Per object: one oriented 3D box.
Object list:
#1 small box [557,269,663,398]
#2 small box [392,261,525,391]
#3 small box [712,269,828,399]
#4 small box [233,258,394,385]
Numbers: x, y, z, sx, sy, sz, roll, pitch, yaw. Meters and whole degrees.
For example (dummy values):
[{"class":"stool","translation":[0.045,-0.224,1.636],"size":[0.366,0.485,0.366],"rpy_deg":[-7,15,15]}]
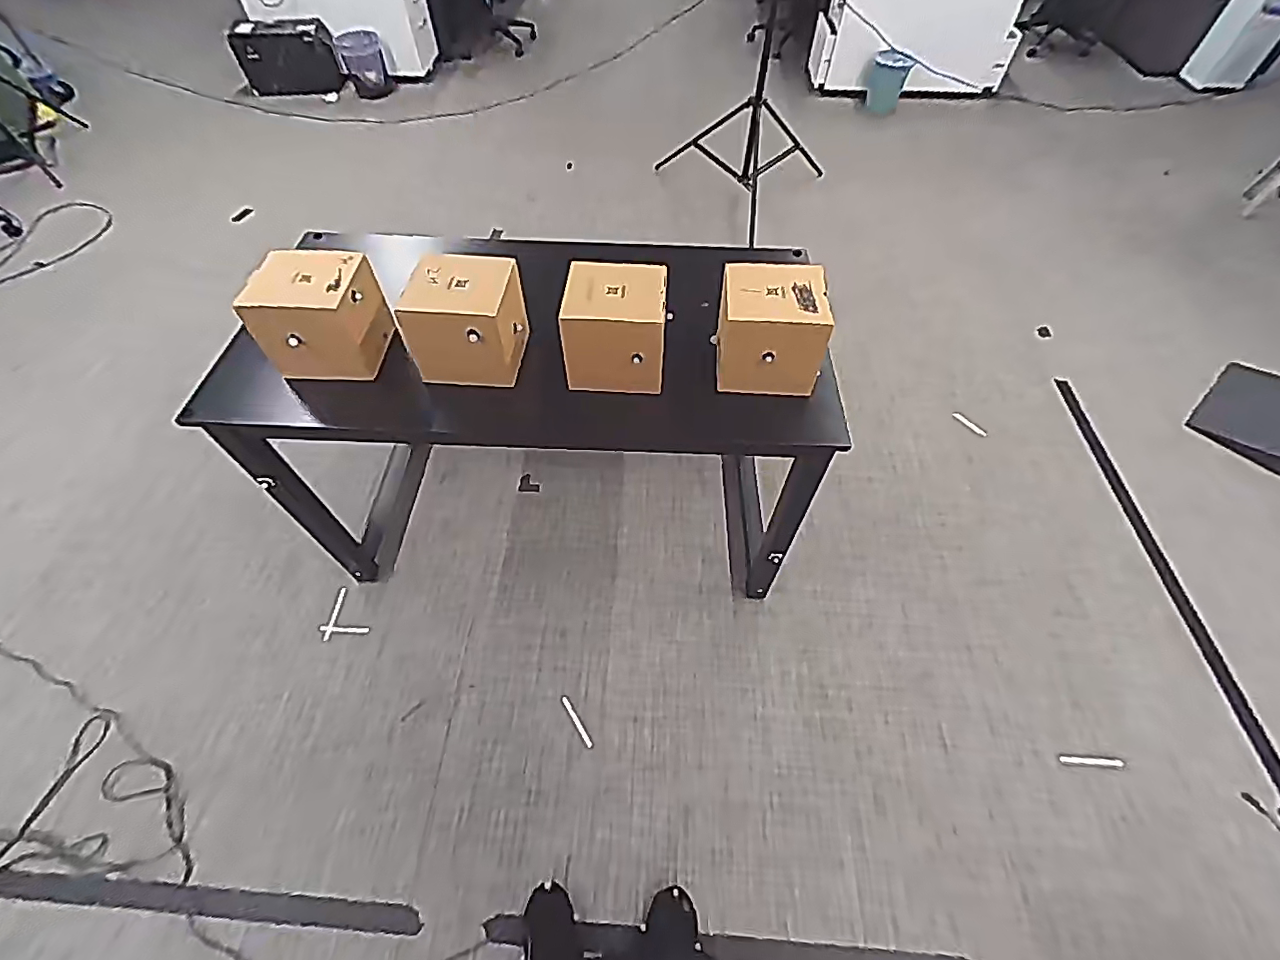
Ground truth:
[{"class":"small box","translation":[-0.050,-0.266,1.000],"size":[0.179,0.176,0.168],"rpy_deg":[2,53,0]},{"class":"small box","translation":[-0.323,-0.283,1.008],"size":[0.179,0.176,0.168],"rpy_deg":[3,54,2]},{"class":"small box","translation":[0.229,-0.266,1.000],"size":[0.179,0.176,0.168],"rpy_deg":[3,54,4]},{"class":"small box","translation":[-0.596,-0.293,1.013],"size":[0.179,0.176,0.168],"rpy_deg":[0,55,0]}]
